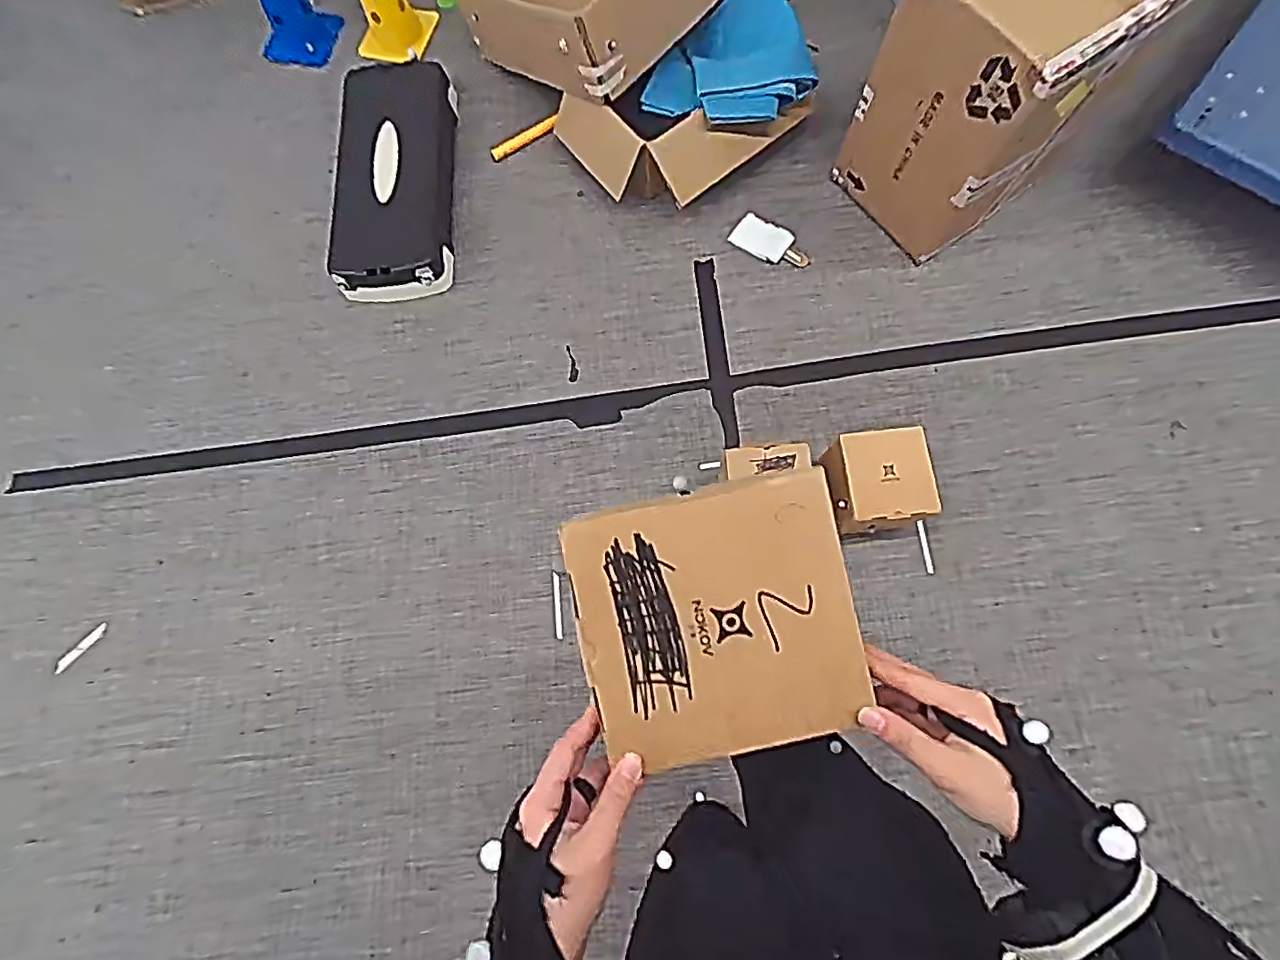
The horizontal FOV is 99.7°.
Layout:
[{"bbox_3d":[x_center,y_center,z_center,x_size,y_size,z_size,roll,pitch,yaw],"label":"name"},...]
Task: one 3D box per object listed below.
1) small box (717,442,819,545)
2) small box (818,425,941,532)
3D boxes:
[{"bbox_3d":[0.254,0.034,1.114,0.168,0.176,0.179,-4,77,2],"label":"small box"},{"bbox_3d":[0.479,0.003,1.112,0.168,0.176,0.179,-6,76,1],"label":"small box"}]
